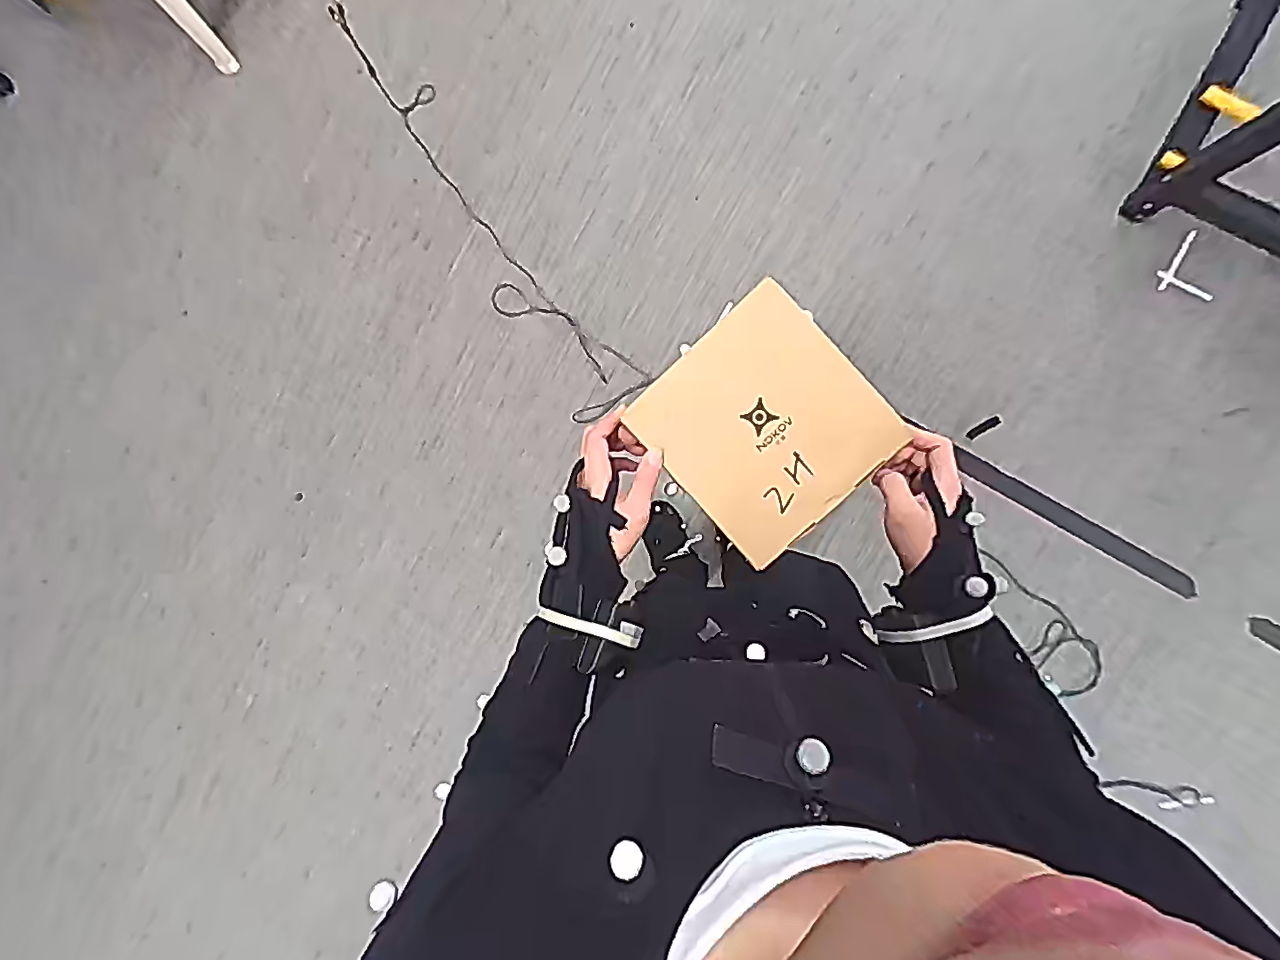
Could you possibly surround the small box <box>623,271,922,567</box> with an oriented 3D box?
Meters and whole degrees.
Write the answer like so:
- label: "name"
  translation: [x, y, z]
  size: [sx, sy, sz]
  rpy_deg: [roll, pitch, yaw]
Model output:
- label: "small box"
  translation: [0.106, -0.051, 0.500]
  size: [0.168, 0.176, 0.179]
  rpy_deg: [-42, 91, 6]
